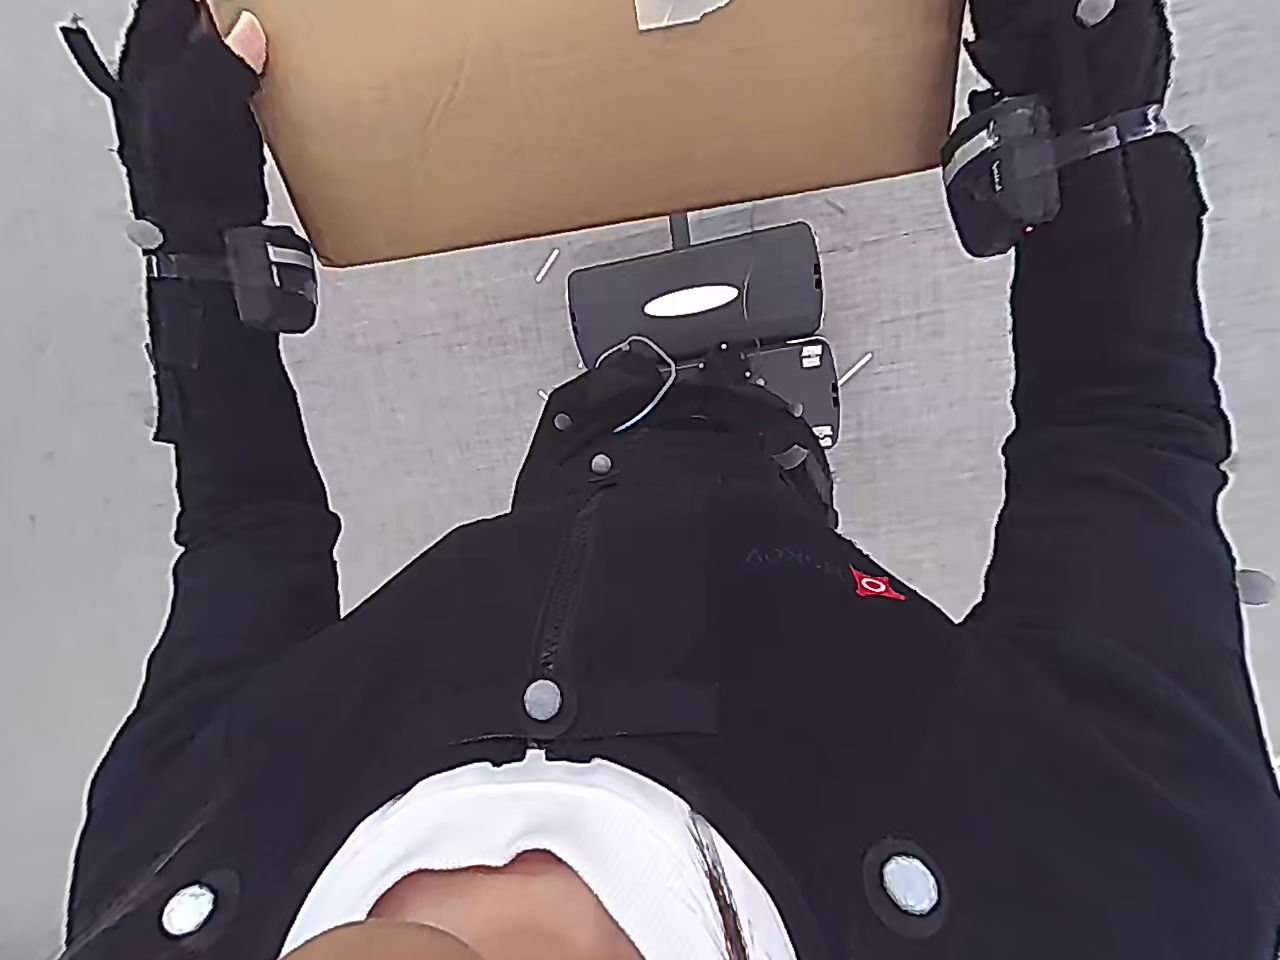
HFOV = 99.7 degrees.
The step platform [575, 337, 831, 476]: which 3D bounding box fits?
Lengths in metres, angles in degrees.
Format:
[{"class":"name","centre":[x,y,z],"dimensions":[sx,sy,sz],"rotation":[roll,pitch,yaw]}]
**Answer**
[{"class":"step platform","centre":[0.166,-0.196,1.493],"dimensions":[0.684,0.204,0.286],"rotation":[-7,103,14]}]

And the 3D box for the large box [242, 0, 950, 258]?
[{"class":"large box","centre":[-0.028,-0.382,0.410],"dimensions":[0.408,0.320,0.320],"rotation":[-5,120,10]}]
